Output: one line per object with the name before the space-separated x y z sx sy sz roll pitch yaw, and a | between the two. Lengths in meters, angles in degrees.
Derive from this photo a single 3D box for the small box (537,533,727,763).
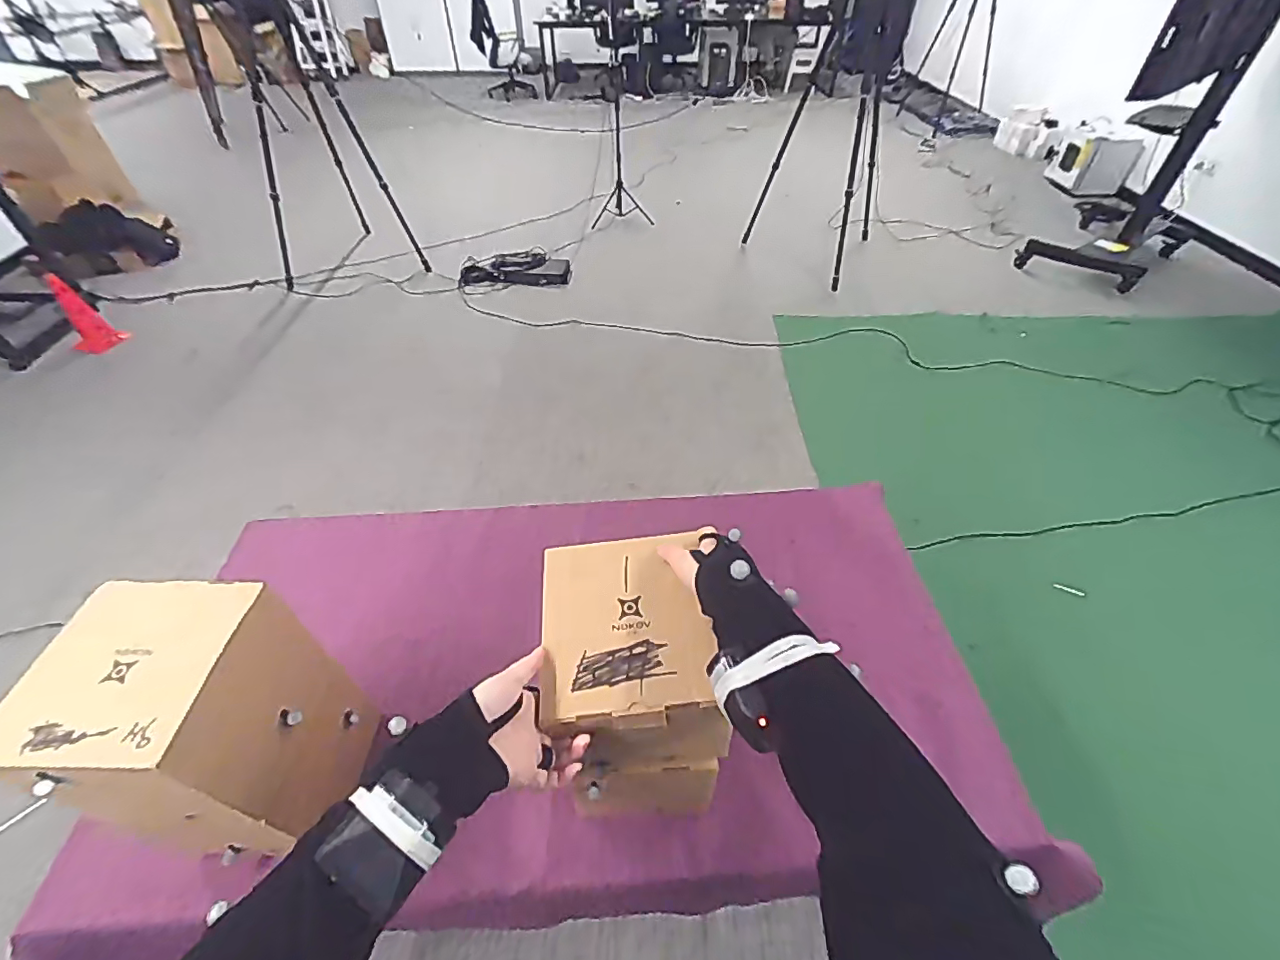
small box | -0.006 0.181 0.565 0.168 0.176 0.179 -7 48 0

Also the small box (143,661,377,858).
small box | -0.451 0.340 0.663 0.168 0.176 0.179 0 46 2

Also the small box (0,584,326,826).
small box | -0.454 0.224 0.545 0.168 0.176 0.179 -1 44 3
